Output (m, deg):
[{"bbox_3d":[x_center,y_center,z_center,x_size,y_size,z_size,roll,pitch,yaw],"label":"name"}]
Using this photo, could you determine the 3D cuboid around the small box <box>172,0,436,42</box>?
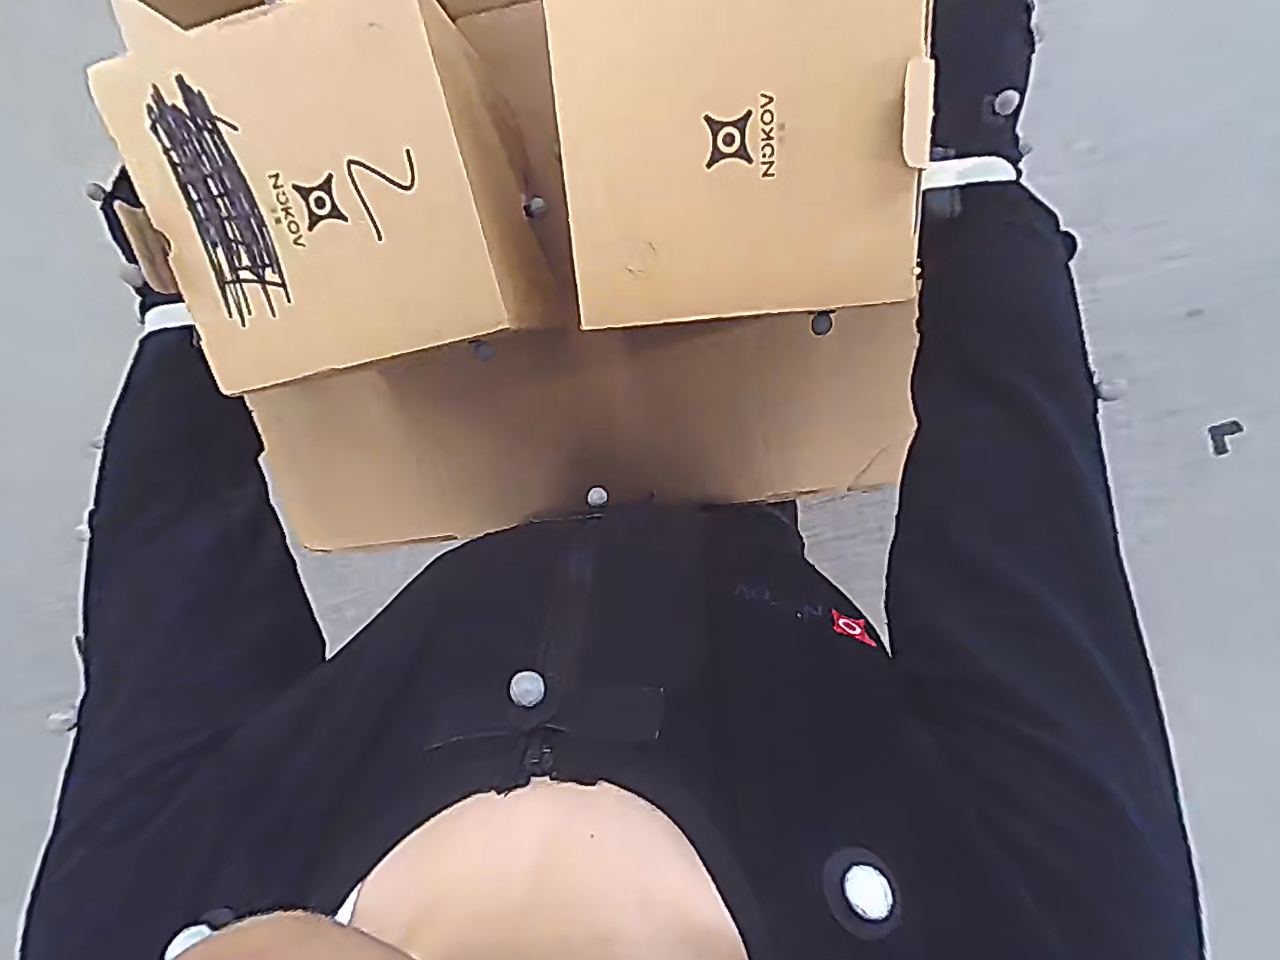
[{"bbox_3d":[-0.236,-0.390,0.302,0.168,0.176,0.179,-9,103,6],"label":"small box"}]
